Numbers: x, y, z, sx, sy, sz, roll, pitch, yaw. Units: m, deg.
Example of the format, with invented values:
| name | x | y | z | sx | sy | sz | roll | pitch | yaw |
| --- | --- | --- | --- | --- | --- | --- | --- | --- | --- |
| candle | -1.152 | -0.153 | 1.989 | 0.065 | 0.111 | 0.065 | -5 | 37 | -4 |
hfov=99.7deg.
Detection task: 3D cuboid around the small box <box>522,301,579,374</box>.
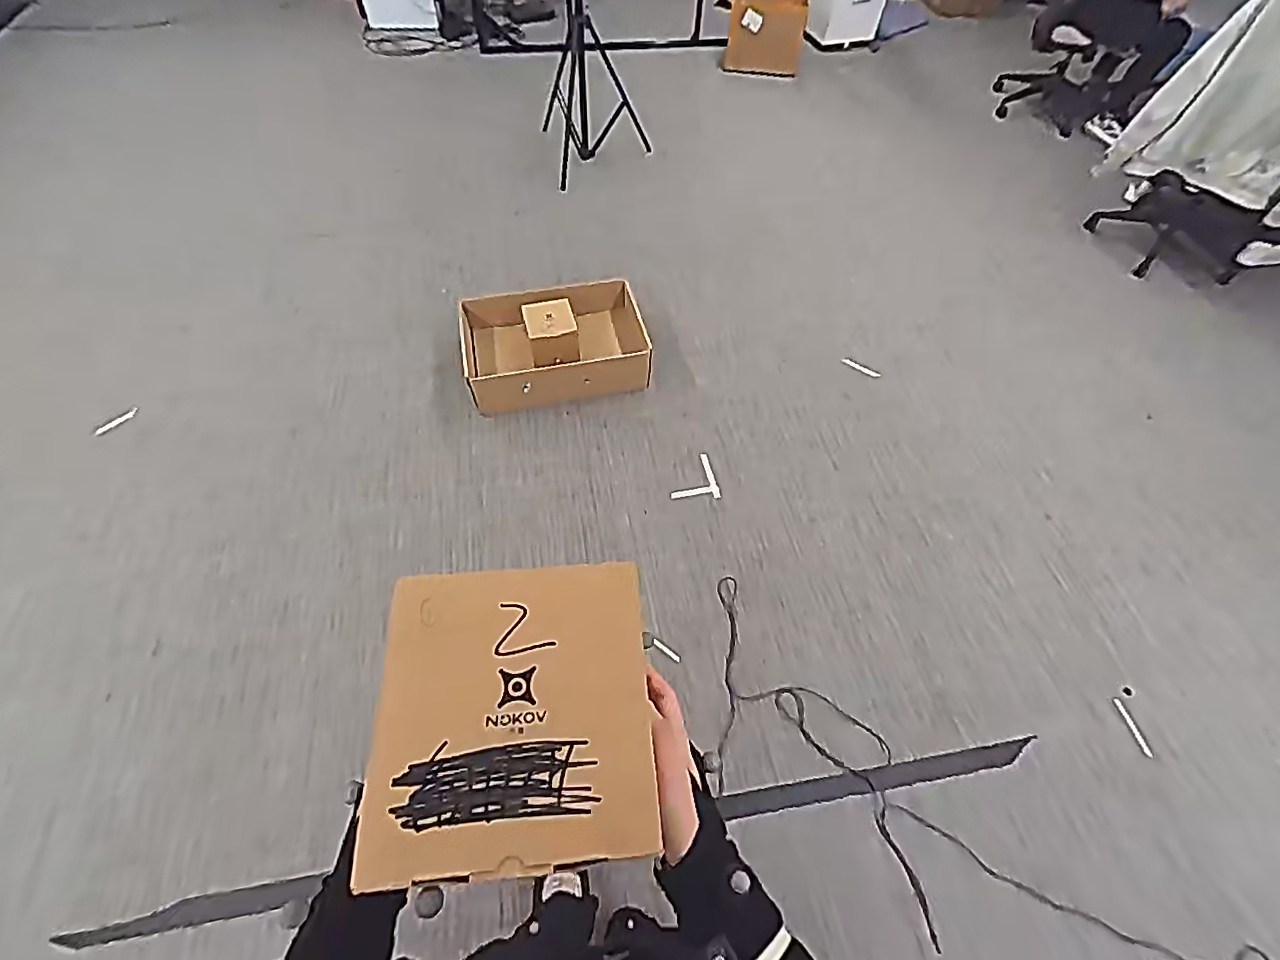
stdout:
| name | x | y | z | sx | sy | sz | roll | pitch | yaw |
| --- | --- | --- | --- | --- | --- | --- | --- | --- | --- |
| small box | -0.314 | -0.502 | 1.908 | 0.168 | 0.176 | 0.179 | -13 | 58 | -10 |
